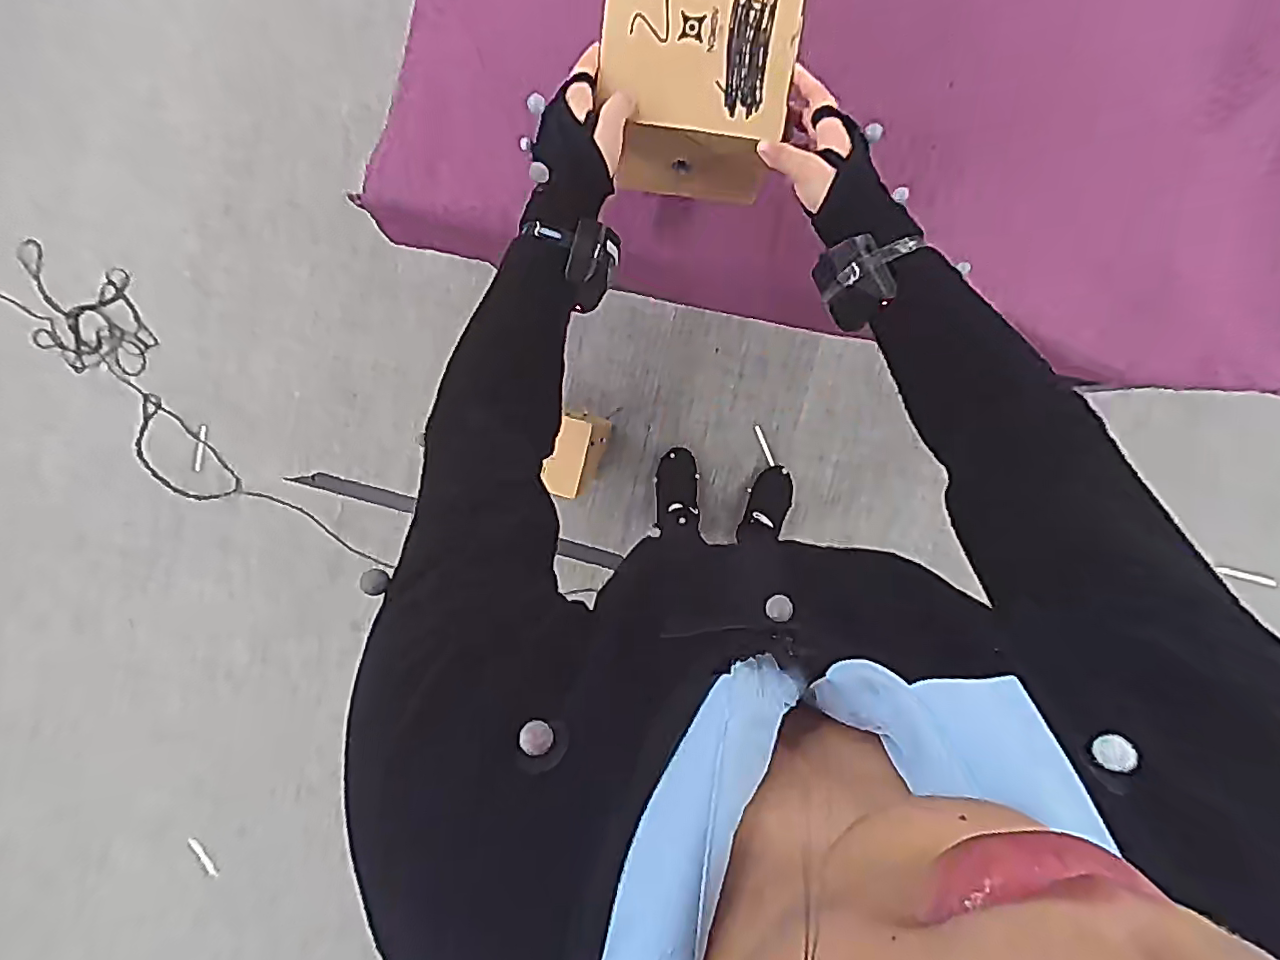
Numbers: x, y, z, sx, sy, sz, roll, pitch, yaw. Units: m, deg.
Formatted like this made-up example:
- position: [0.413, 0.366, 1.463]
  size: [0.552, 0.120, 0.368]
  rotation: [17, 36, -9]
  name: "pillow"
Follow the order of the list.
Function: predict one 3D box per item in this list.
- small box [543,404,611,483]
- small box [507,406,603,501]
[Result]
- position: [-0.182, -0.088, 1.418]
  size: [0.168, 0.176, 0.179]
  rotation: [20, 97, 2]
  name: "small box"
- position: [-0.188, -0.065, 1.255]
  size: [0.168, 0.176, 0.179]
  rotation: [15, 97, 3]
  name: "small box"
